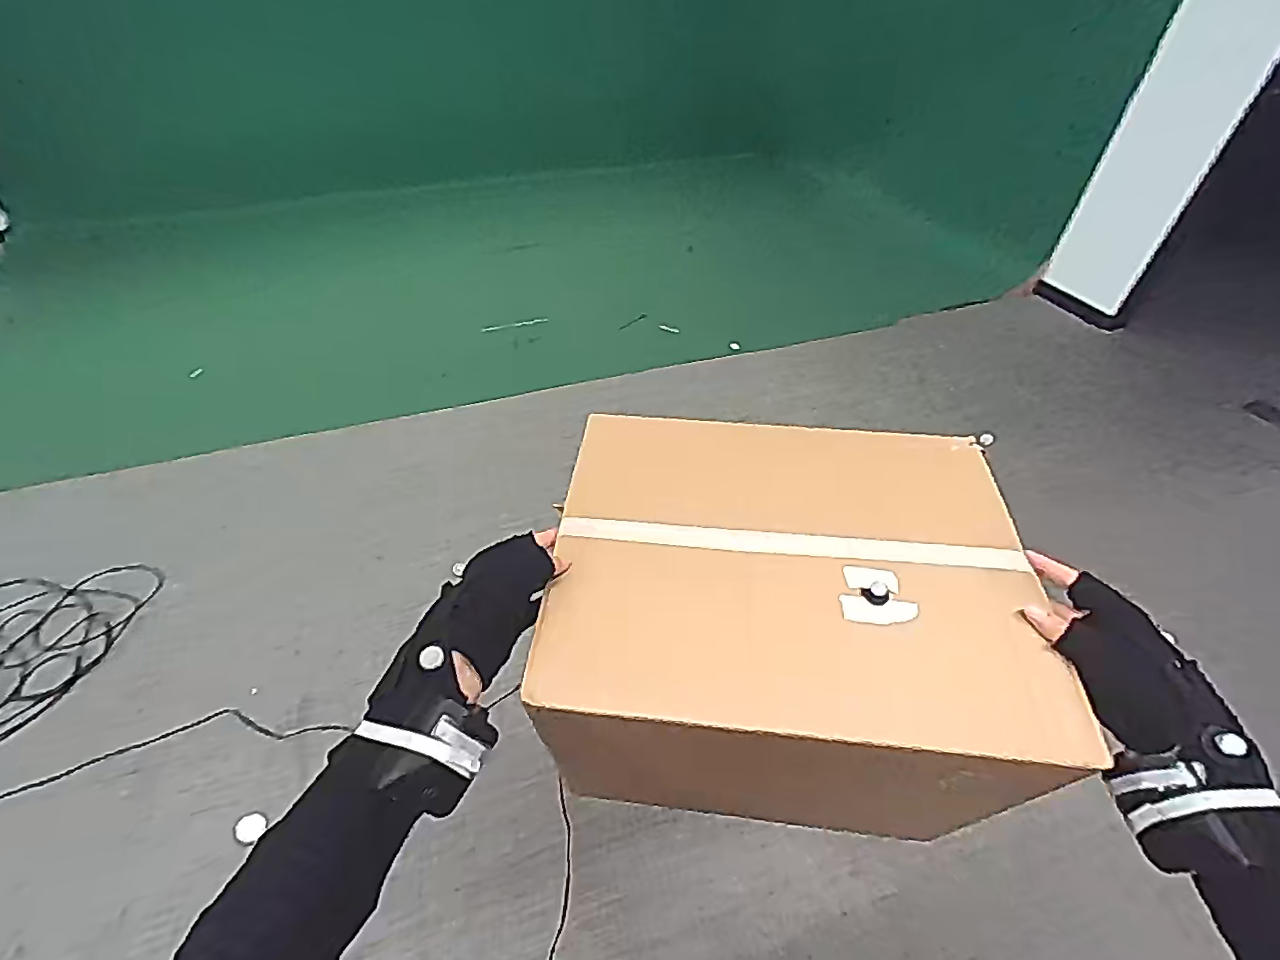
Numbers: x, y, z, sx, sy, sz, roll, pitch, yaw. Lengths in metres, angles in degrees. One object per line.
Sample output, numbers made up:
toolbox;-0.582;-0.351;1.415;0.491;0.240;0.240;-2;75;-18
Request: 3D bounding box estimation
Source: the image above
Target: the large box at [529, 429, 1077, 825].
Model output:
large box;0.126;0.163;0.600;0.408;0.320;0.320;3;50;5
